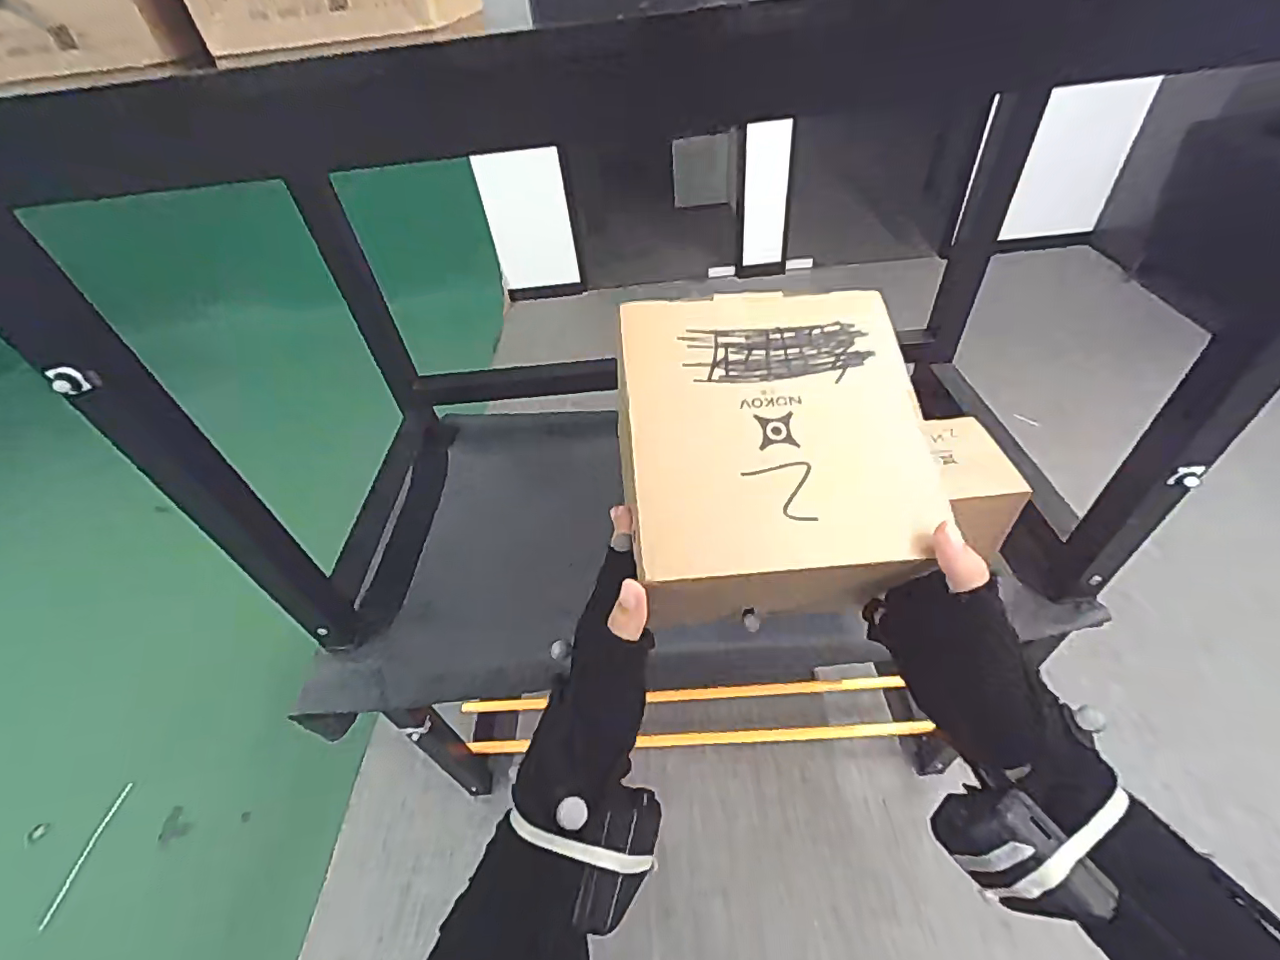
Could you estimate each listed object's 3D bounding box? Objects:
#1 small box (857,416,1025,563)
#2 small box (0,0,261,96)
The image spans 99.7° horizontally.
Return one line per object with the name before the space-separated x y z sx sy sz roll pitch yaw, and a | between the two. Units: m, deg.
small box | 0.473 0.022 0.883 0.168 0.176 0.179 -6 44 2
small box | -0.429 -0.402 0.399 0.168 0.176 0.179 -5 46 3
